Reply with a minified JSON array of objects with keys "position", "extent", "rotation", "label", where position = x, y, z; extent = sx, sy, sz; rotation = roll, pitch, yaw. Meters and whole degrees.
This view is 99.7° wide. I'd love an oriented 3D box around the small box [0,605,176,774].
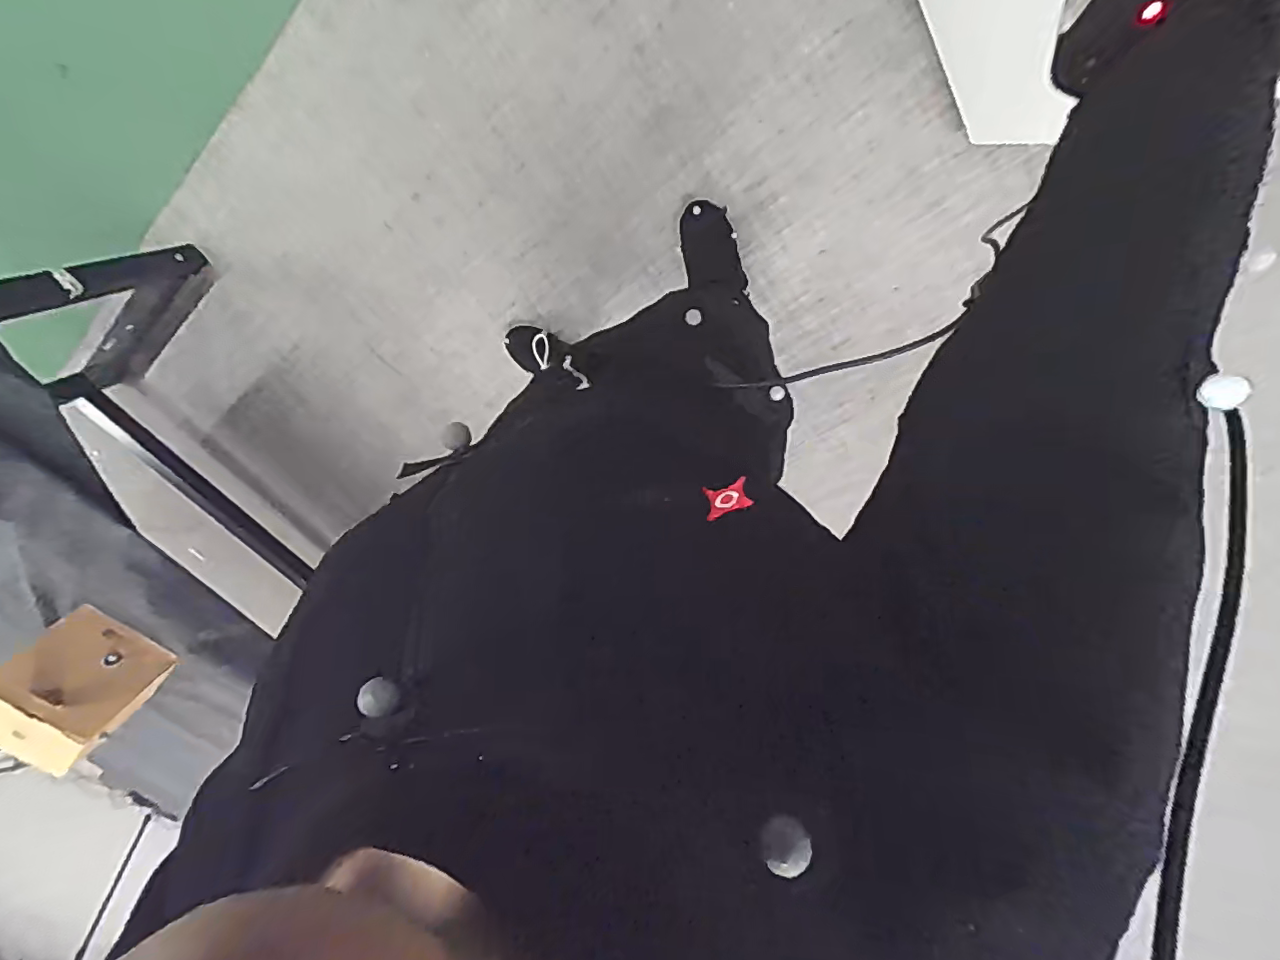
[{"position":[-0.929,0.344,0.896],"extent":[0.168,0.176,0.179],"rotation":[43,119,-17],"label":"small box"}]
